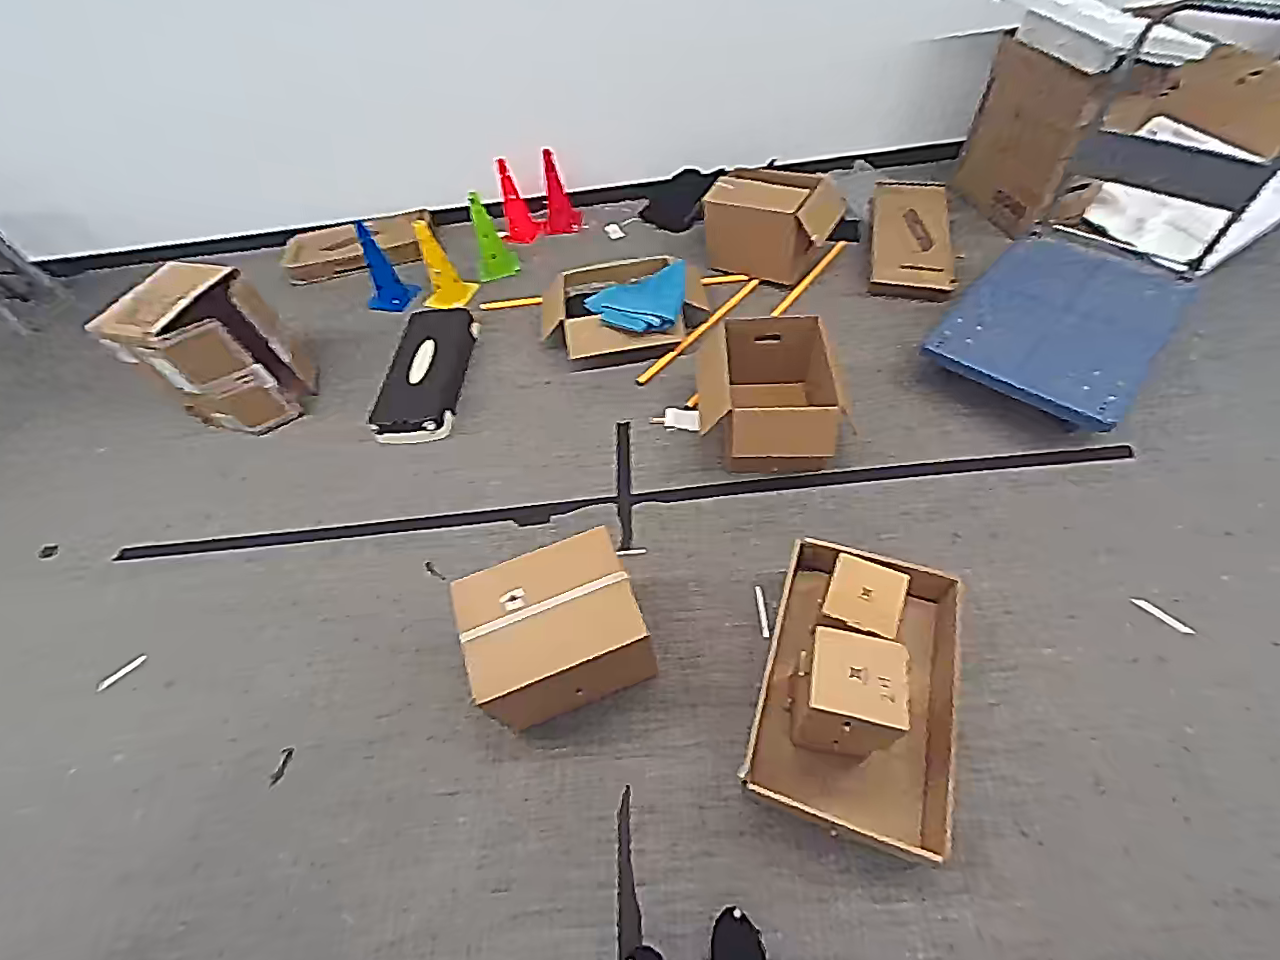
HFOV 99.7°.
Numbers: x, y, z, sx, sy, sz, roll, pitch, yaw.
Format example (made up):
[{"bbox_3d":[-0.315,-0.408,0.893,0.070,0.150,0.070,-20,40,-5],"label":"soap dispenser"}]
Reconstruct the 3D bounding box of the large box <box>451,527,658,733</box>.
[{"bbox_3d":[-0.204,0.385,1.371,0.408,0.320,0.320,-21,54,-7],"label":"large box"}]

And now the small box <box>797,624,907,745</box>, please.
[{"bbox_3d":[0.422,0.416,1.091,0.179,0.176,0.168,10,54,13],"label":"small box"}]
